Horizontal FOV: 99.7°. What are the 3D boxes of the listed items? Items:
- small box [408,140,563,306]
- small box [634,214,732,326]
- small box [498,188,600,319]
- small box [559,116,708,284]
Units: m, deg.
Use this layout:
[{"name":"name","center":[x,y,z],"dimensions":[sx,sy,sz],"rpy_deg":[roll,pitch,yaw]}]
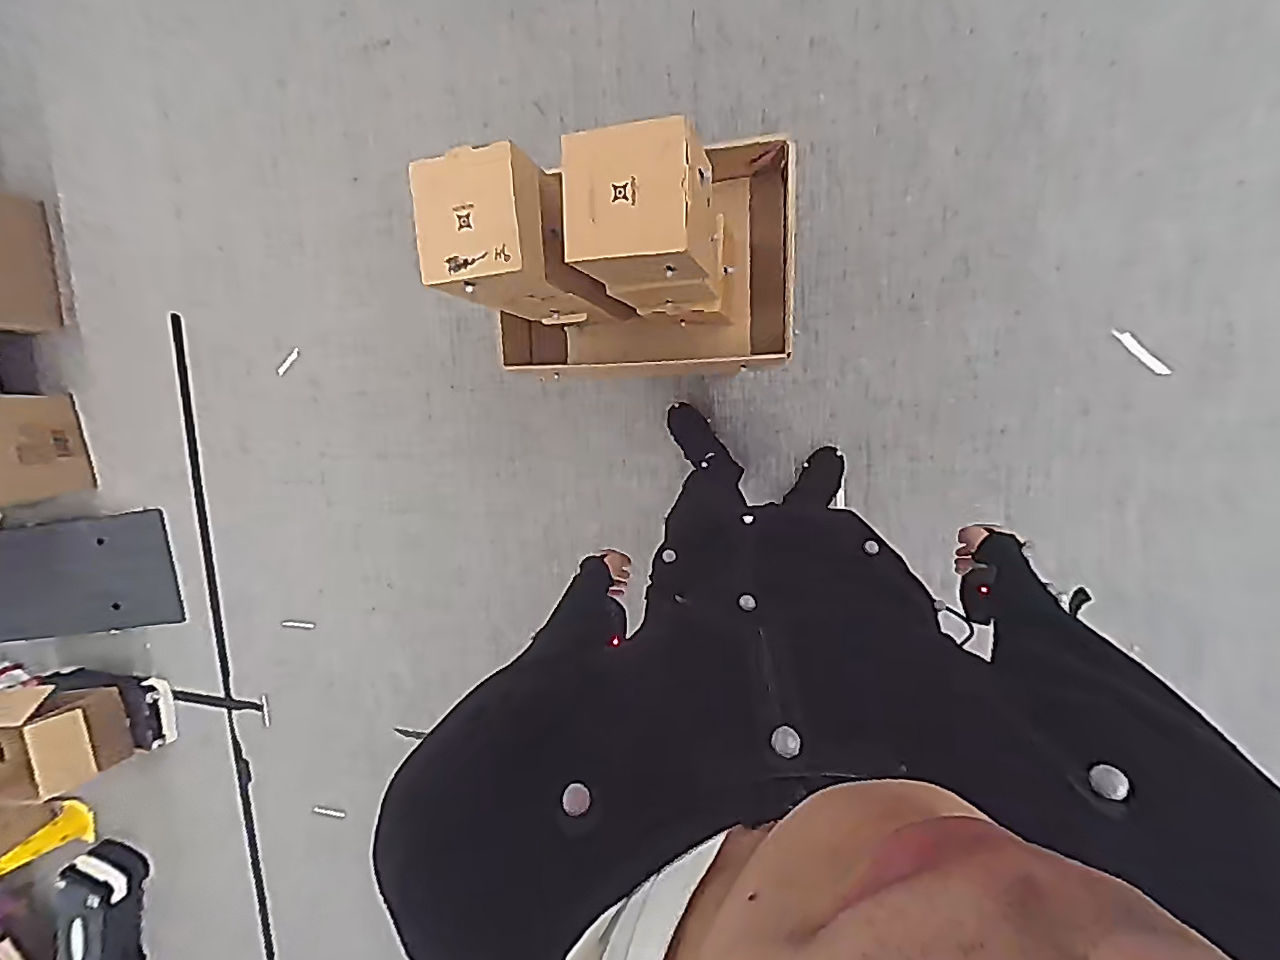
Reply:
[{"name":"small box","center":[-0.230,-0.383,0.839],"dimensions":[0.168,0.176,0.179],"rpy_deg":[-2,96,17]},{"name":"small box","center":[0.091,-0.414,1.093],"dimensions":[0.168,0.176,0.179],"rpy_deg":[3,99,17]},{"name":"small box","center":[-0.180,-0.405,0.995],"dimensions":[0.168,0.176,0.179],"rpy_deg":[-2,98,16]},{"name":"small box","center":[-0.001,-0.386,0.780],"dimensions":[0.179,0.176,0.168],"rpy_deg":[3,99,18]}]
